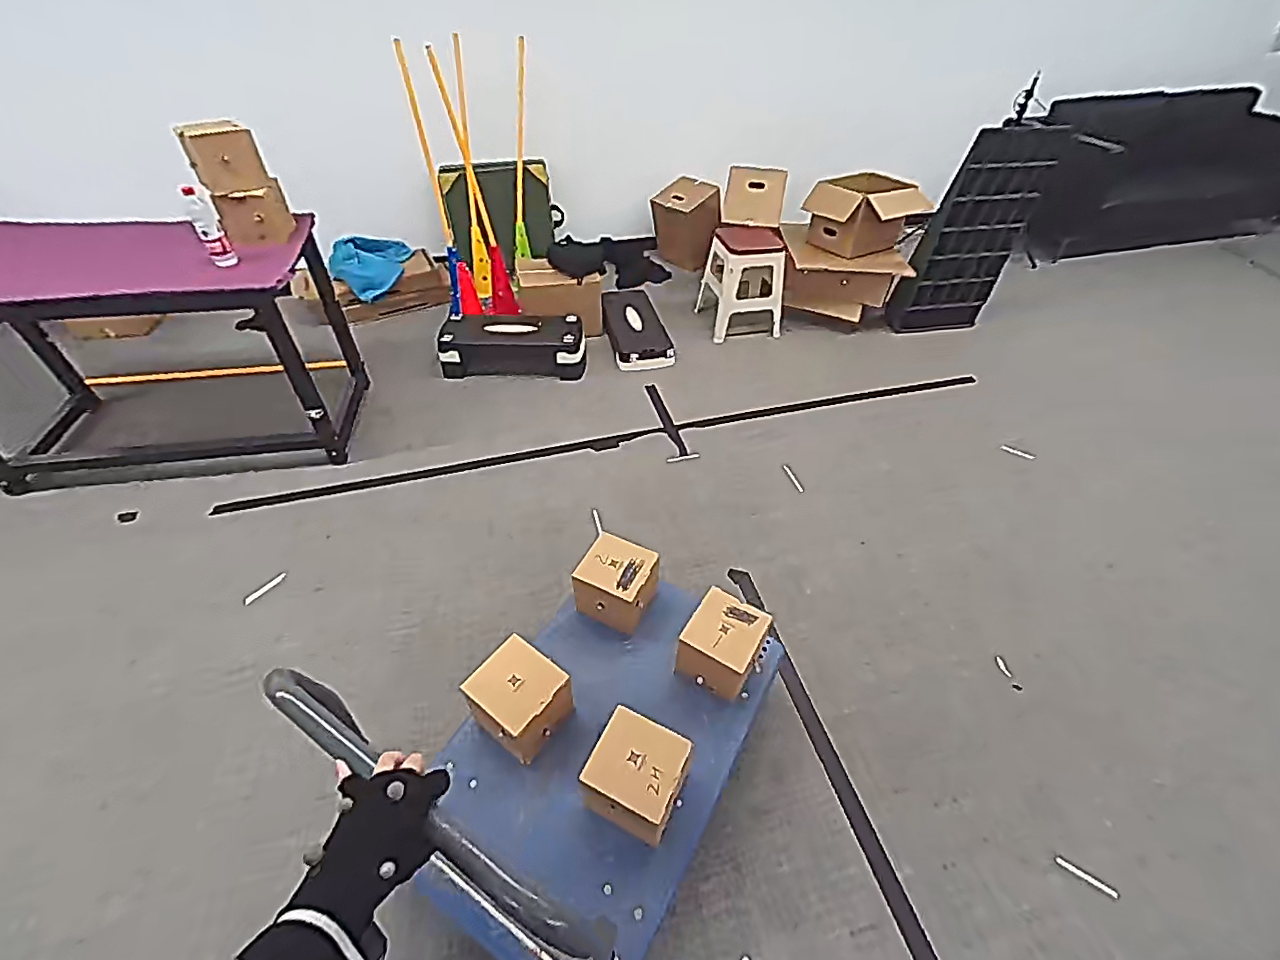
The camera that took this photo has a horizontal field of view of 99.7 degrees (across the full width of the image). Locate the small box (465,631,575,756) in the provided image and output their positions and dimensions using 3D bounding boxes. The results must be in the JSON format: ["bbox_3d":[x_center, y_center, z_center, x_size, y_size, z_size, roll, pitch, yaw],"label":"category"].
[{"bbox_3d":[-0.265,0.488,1.228,0.179,0.176,0.168,30,51,23],"label":"small box"}]

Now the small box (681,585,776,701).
[{"bbox_3d":[0.210,0.401,1.328,0.168,0.176,0.179,25,51,22],"label":"small box"}]

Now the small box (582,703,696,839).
[{"bbox_3d":[-0.002,0.603,1.117,0.179,0.176,0.168,21,48,19],"label":"small box"}]
